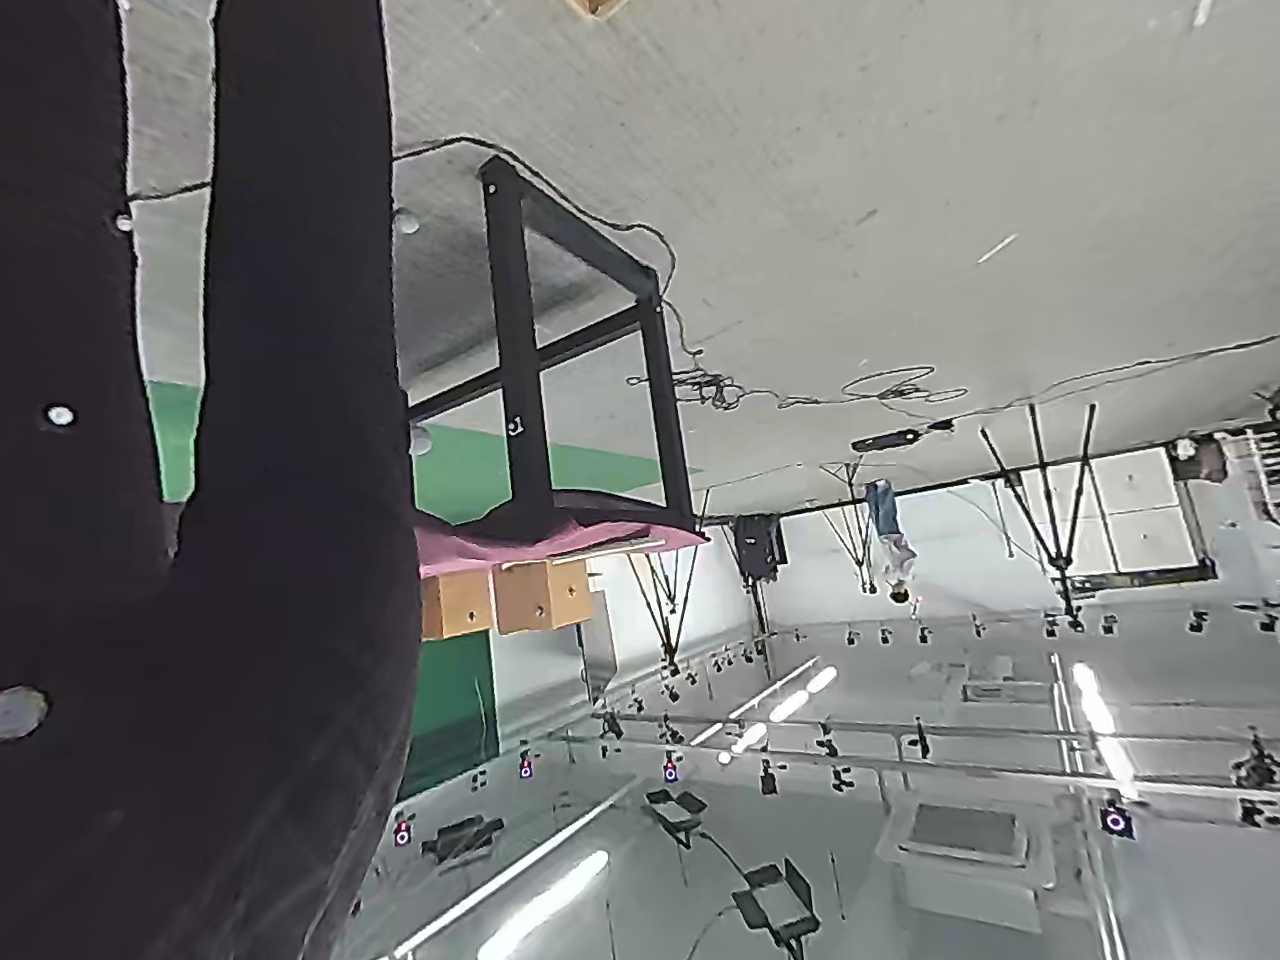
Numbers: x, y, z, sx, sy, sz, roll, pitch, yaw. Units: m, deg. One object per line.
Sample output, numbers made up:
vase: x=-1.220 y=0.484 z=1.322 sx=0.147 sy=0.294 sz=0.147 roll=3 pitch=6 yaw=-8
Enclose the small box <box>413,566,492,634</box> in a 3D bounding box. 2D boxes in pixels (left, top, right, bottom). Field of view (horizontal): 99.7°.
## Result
small box: x=-0.551 y=0.341 z=1.549 sx=0.168 sy=0.176 sz=0.179 roll=-13 pitch=169 yaw=31
